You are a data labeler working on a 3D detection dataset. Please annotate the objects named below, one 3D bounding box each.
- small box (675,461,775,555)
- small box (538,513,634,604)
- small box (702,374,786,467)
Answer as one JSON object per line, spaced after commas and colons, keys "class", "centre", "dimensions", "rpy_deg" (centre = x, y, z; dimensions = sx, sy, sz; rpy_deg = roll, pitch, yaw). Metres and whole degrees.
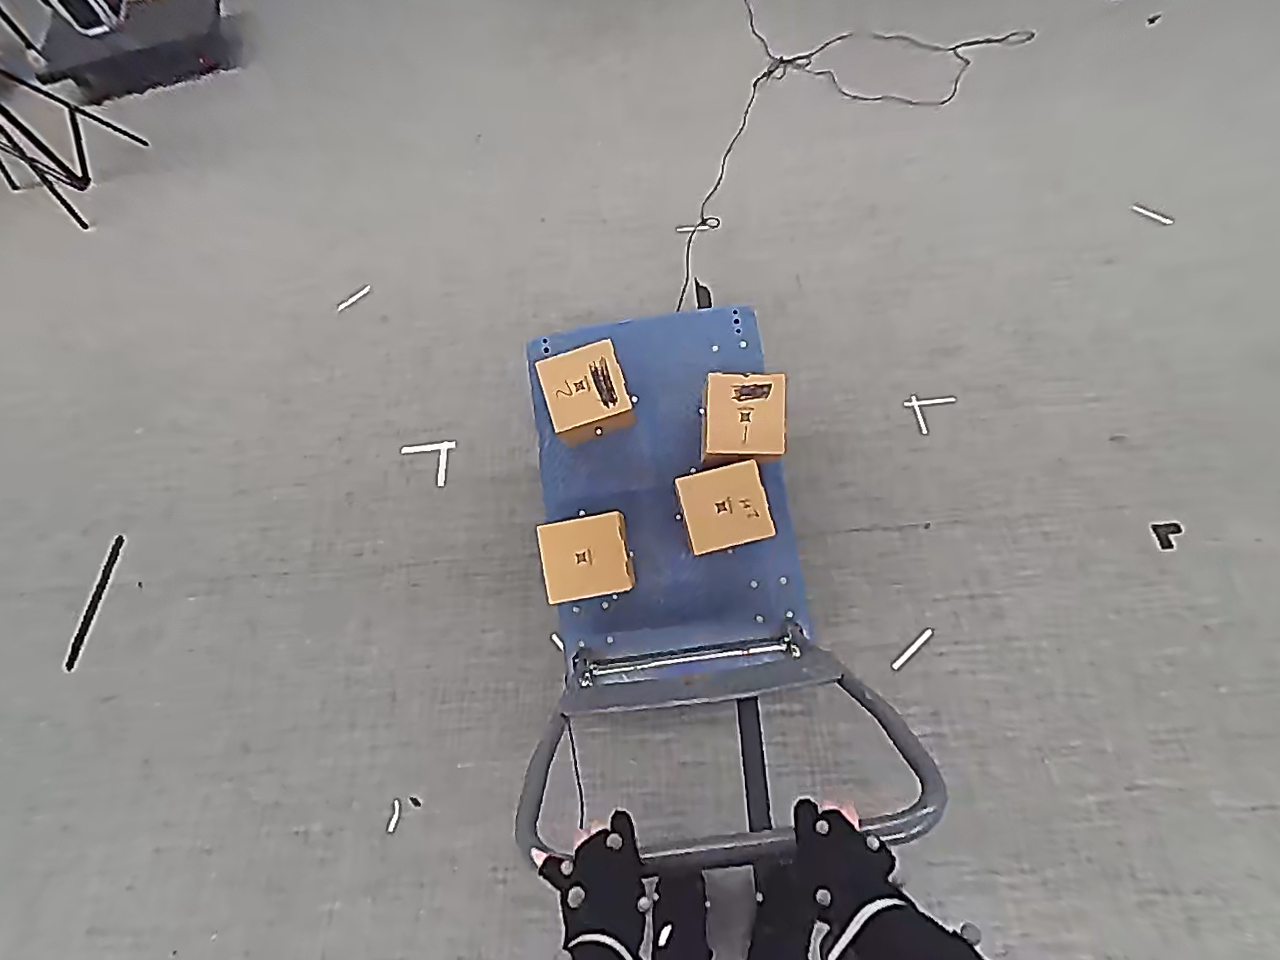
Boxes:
{"class": "small box", "centre": [0.181, 0.067, 1.198], "dimensions": [0.179, 0.176, 0.168], "rpy_deg": [-14, 83, 1]}
{"class": "small box", "centre": [-0.113, 0.173, 1.201], "dimensions": [0.179, 0.176, 0.168], "rpy_deg": [-11, 83, 0]}
{"class": "small box", "centre": [0.228, -0.129, 1.218], "dimensions": [0.168, 0.176, 0.179], "rpy_deg": [1, 84, 3]}
